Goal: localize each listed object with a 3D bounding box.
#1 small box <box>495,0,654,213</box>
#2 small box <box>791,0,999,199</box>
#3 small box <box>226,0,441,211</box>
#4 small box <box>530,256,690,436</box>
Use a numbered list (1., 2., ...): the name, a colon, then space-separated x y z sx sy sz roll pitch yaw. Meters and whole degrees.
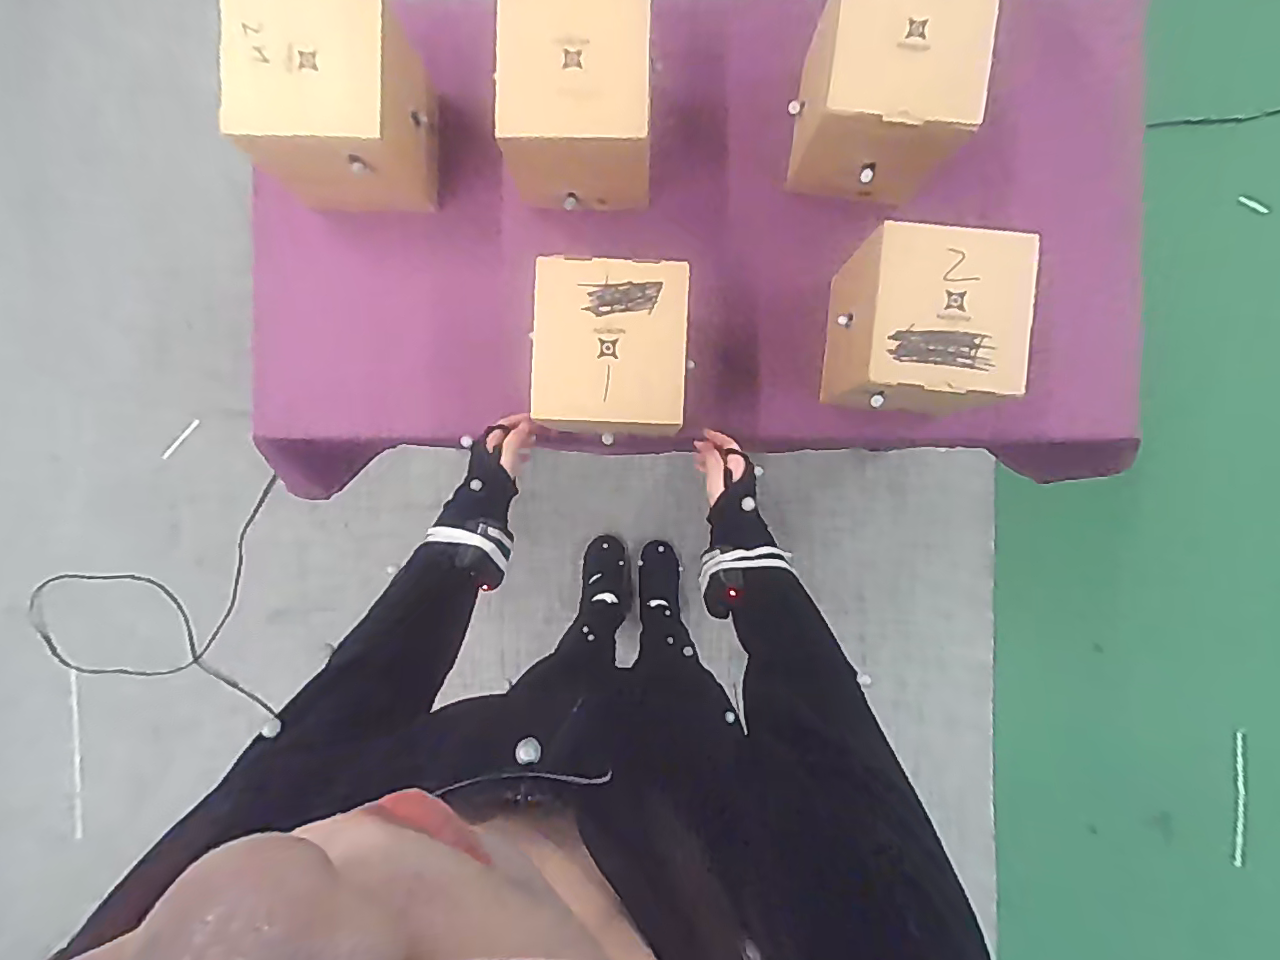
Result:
1. small box: -0.069 -0.453 0.656 0.168 0.176 0.179 2 91 2
2. small box: 0.287 -0.465 0.645 0.168 0.176 0.179 7 92 1
3. small box: -0.357 -0.450 0.661 0.179 0.176 0.168 2 90 1
4. small box: -0.031 -0.150 0.656 0.168 0.176 0.179 2 91 2
